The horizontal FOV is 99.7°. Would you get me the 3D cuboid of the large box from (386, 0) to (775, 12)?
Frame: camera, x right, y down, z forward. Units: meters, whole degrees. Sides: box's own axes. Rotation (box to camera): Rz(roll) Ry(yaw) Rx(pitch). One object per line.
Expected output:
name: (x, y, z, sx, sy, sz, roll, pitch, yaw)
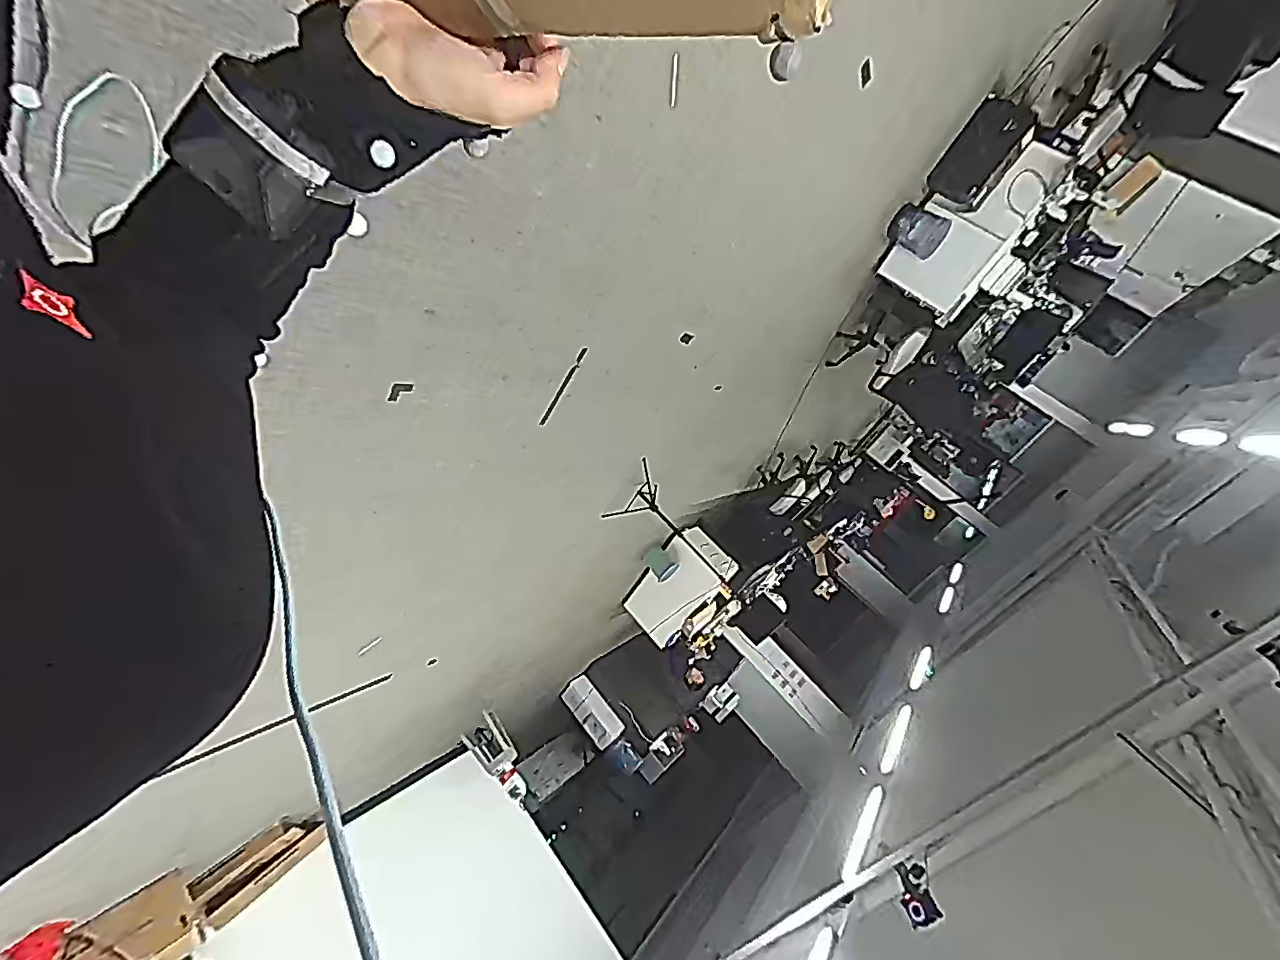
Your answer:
large box: (-0.048, -0.405, 0.085, 0.320, 0.320, 0.408, -67, 155, 1)
